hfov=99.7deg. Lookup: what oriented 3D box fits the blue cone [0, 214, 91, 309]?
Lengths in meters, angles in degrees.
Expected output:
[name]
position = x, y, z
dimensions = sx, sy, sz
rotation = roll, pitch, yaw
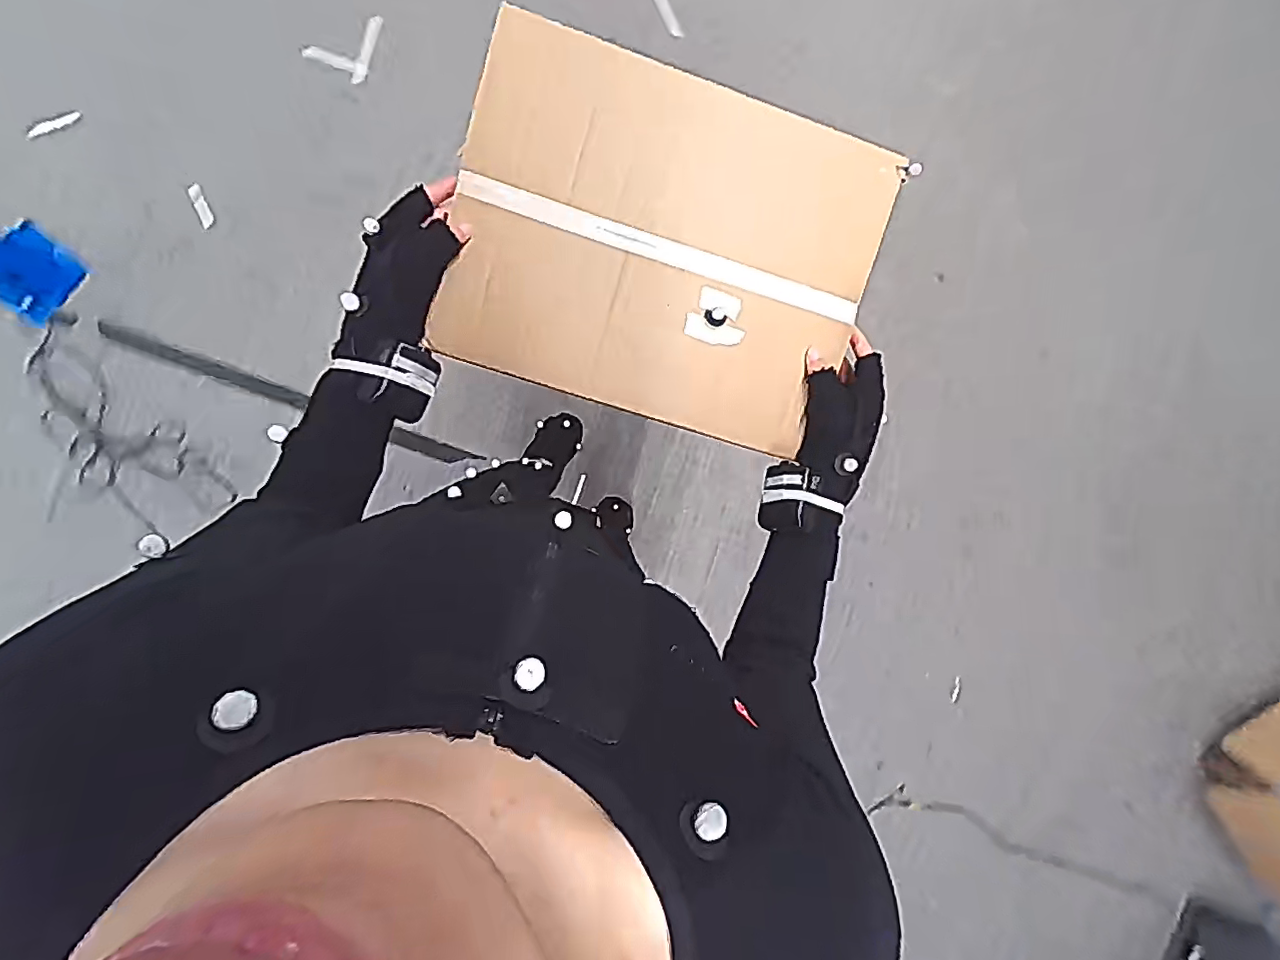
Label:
[blue cone]
position = -1.522, -0.553, 1.224
dimensions = 0.192, 0.380, 0.193
rotation = 41, 89, -4
